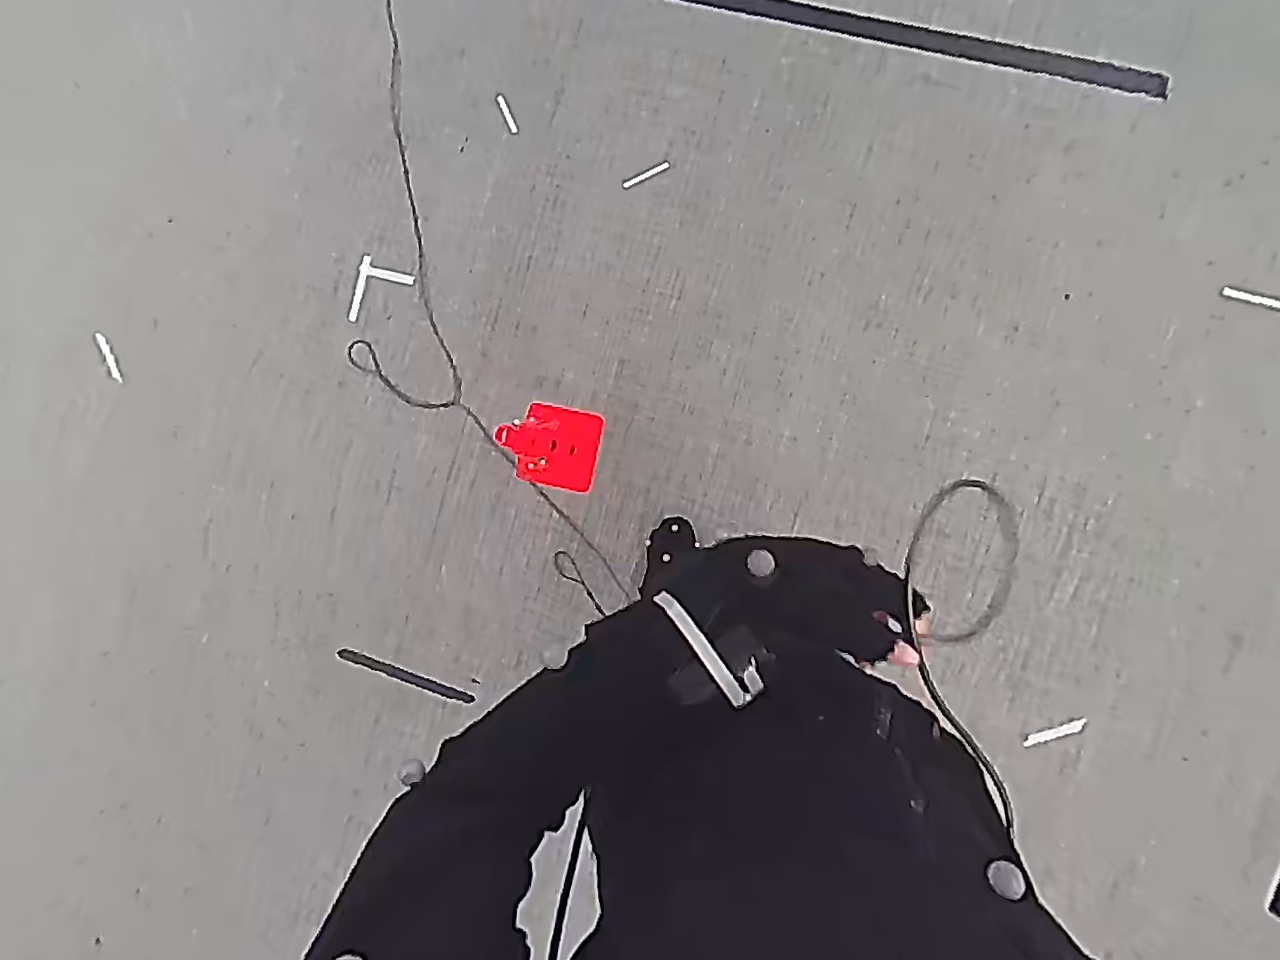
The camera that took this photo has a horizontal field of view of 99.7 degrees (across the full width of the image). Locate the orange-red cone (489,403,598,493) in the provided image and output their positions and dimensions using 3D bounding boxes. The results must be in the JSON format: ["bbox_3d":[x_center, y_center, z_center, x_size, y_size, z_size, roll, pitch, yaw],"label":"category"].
[{"bbox_3d":[-0.234,-0.078,1.161,0.199,0.360,0.198,13,92,7],"label":"orange-red cone"}]
